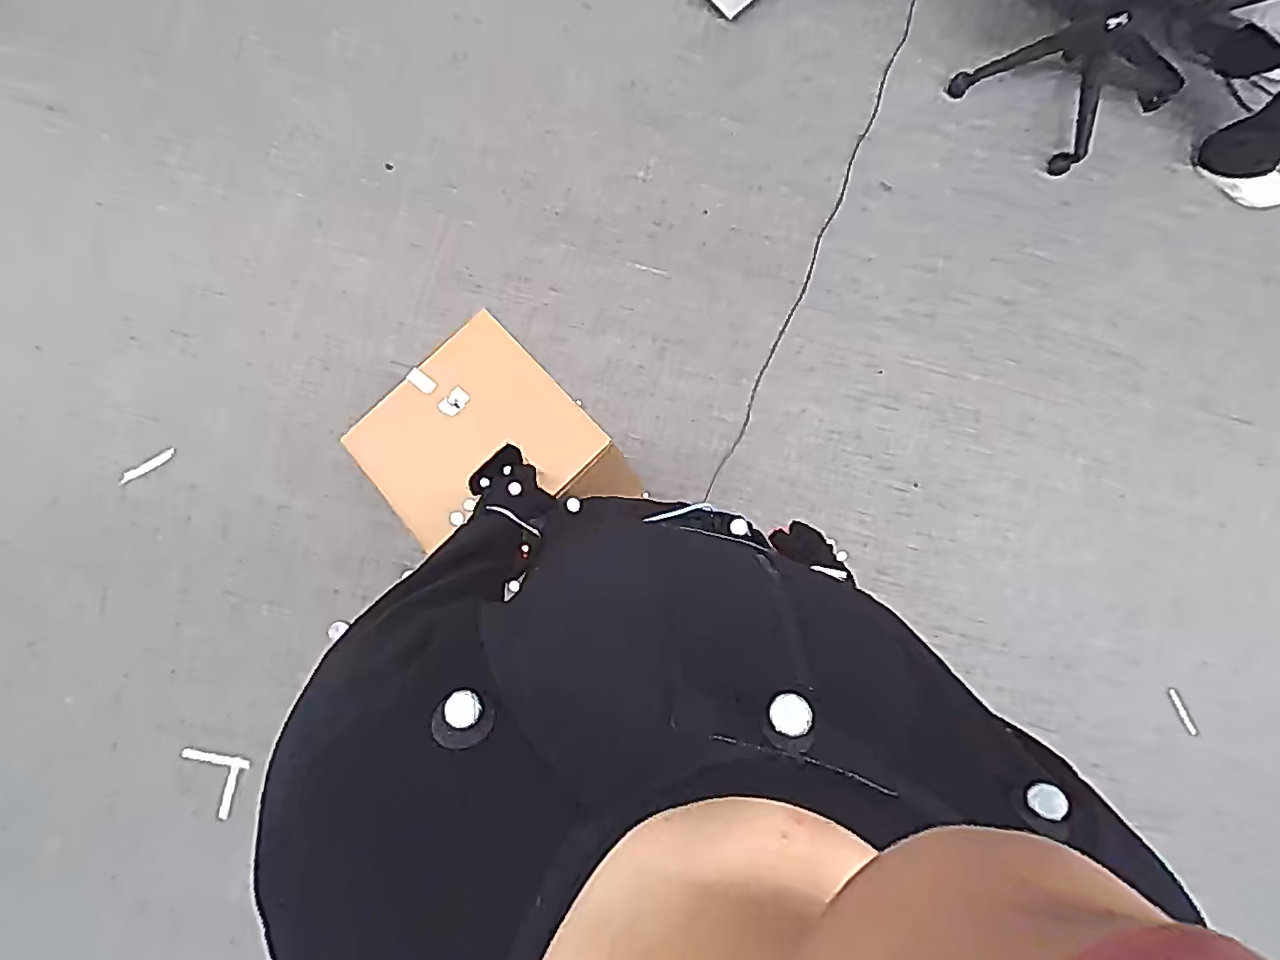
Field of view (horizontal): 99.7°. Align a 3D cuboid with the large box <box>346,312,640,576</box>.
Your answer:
[{"bbox_3d":[-0.238,-0.035,1.017,0.320,0.408,0.320,-44,77,-2],"label":"large box"}]
